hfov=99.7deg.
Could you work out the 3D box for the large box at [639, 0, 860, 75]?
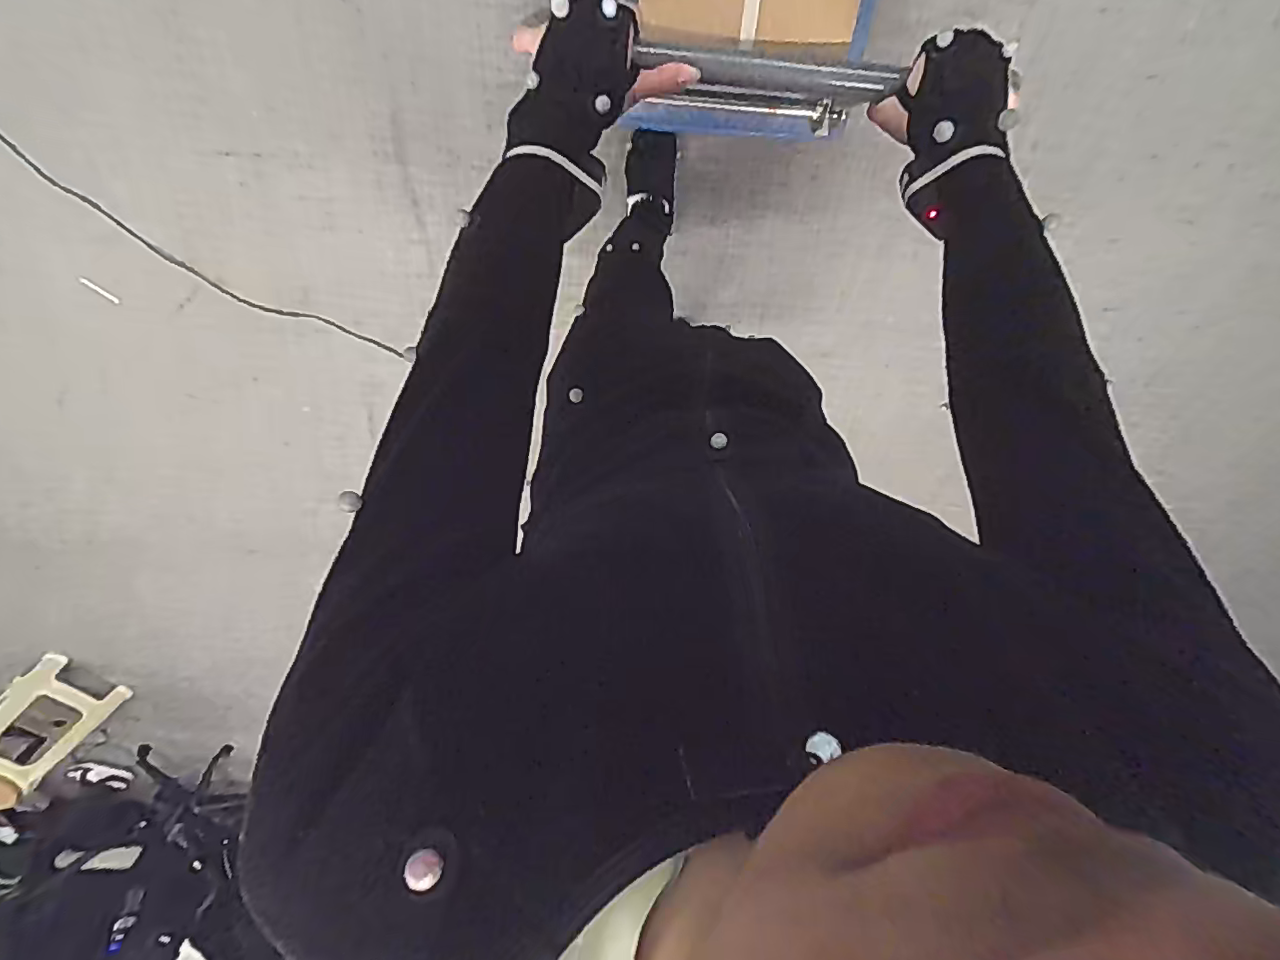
[{"bbox_3d":[0.166,-0.874,0.811,0.320,0.320,0.408,3,123,-2],"label":"large box"}]
